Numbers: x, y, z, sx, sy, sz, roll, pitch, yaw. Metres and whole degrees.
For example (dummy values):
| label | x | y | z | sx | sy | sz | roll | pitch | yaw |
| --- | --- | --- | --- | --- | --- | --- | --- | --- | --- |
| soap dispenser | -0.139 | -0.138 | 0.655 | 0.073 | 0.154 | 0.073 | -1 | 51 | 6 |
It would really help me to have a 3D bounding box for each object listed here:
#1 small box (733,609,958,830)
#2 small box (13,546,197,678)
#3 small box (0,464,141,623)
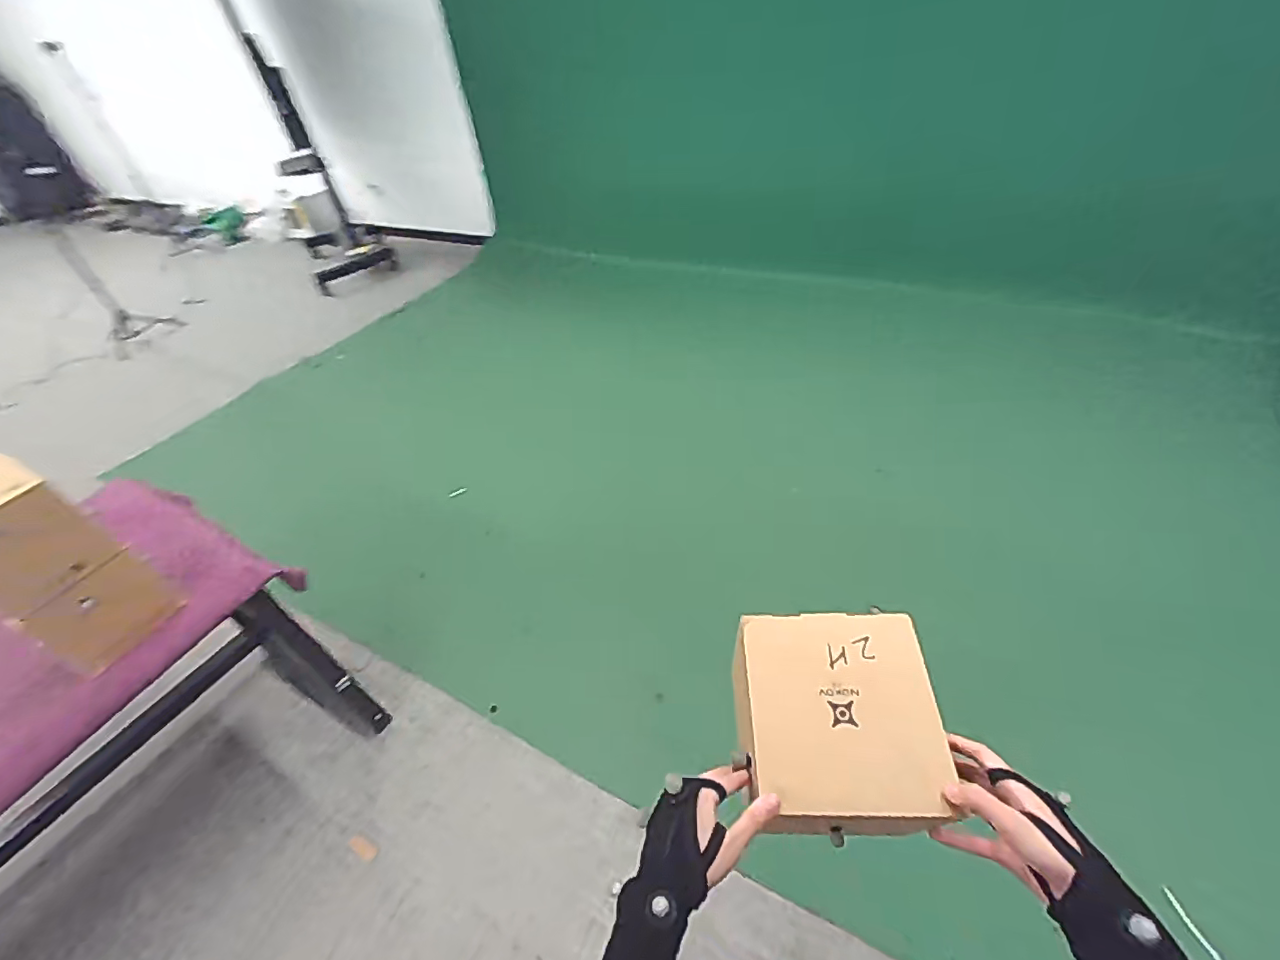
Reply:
| label | x | y | z | sx | sy | sz | roll | pitch | yaw |
| --- | --- | --- | --- | --- | --- | --- | --- | --- | --- |
| small box | 0.186 | 0.249 | 0.554 | 0.168 | 0.176 | 0.179 | -3 | 51 | 5 |
| small box | -0.968 | 0.224 | 0.989 | 0.168 | 0.176 | 0.179 | 17 | 50 | 24 |
| small box | -0.988 | 0.104 | 0.879 | 0.179 | 0.176 | 0.168 | 17 | 51 | 25 |
